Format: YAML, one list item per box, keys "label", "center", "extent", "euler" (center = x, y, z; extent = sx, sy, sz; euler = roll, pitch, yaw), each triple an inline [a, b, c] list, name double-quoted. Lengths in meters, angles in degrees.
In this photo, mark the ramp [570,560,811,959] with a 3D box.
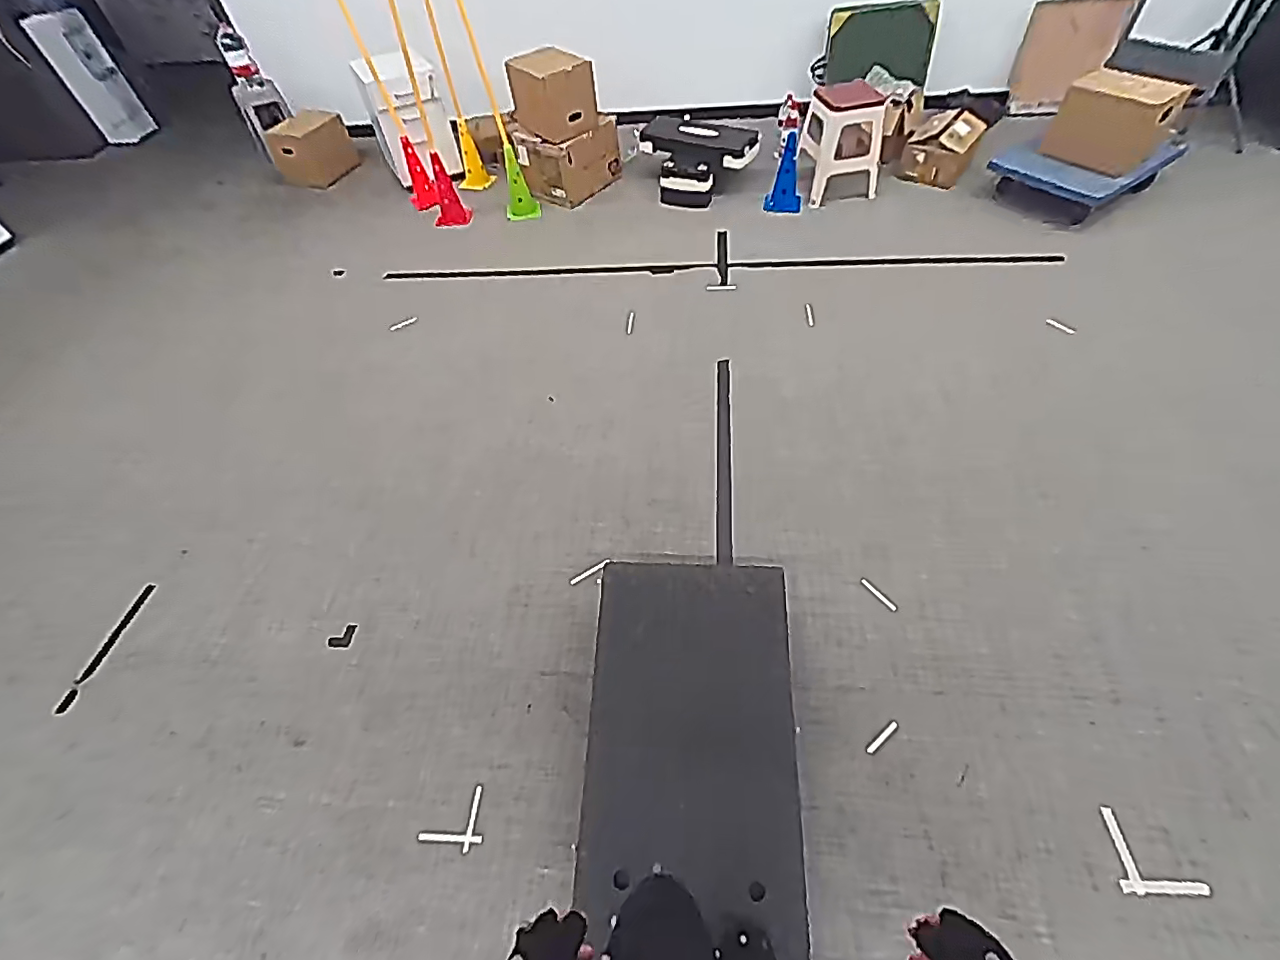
- label: "ramp"
  center: [0.117, 0.666, 1.253]
  extent: [0.509, 0.206, 0.991]
  euler: [0, 52, 3]
